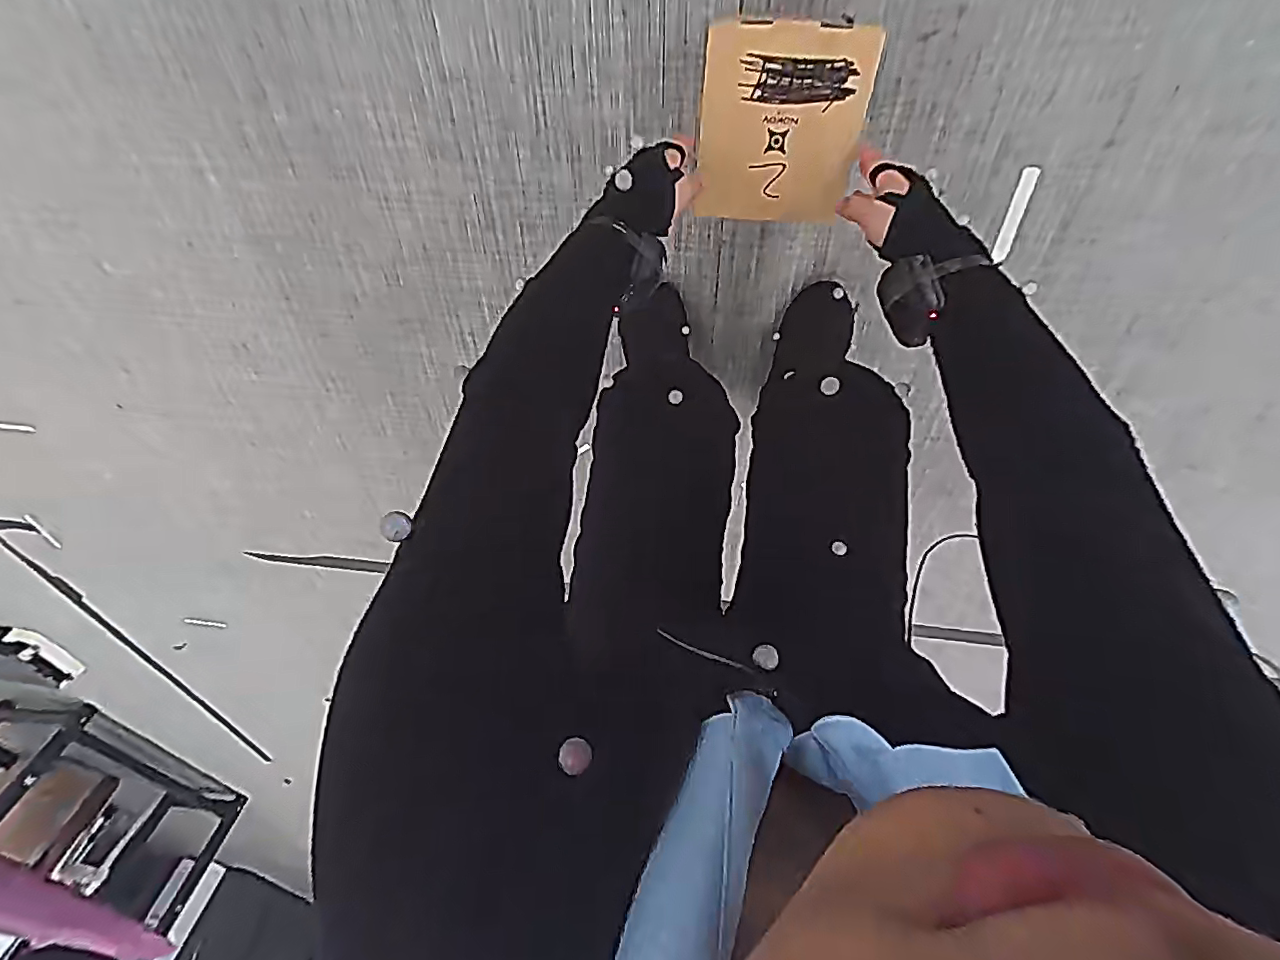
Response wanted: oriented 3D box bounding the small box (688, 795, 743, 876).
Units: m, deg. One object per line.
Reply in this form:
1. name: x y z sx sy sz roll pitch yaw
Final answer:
1. small box: 0.245 1.145 1.745 0.168 0.176 0.179 1 131 9

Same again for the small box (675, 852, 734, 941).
1. small box: 0.197 1.252 1.627 0.168 0.176 0.179 1 131 9
